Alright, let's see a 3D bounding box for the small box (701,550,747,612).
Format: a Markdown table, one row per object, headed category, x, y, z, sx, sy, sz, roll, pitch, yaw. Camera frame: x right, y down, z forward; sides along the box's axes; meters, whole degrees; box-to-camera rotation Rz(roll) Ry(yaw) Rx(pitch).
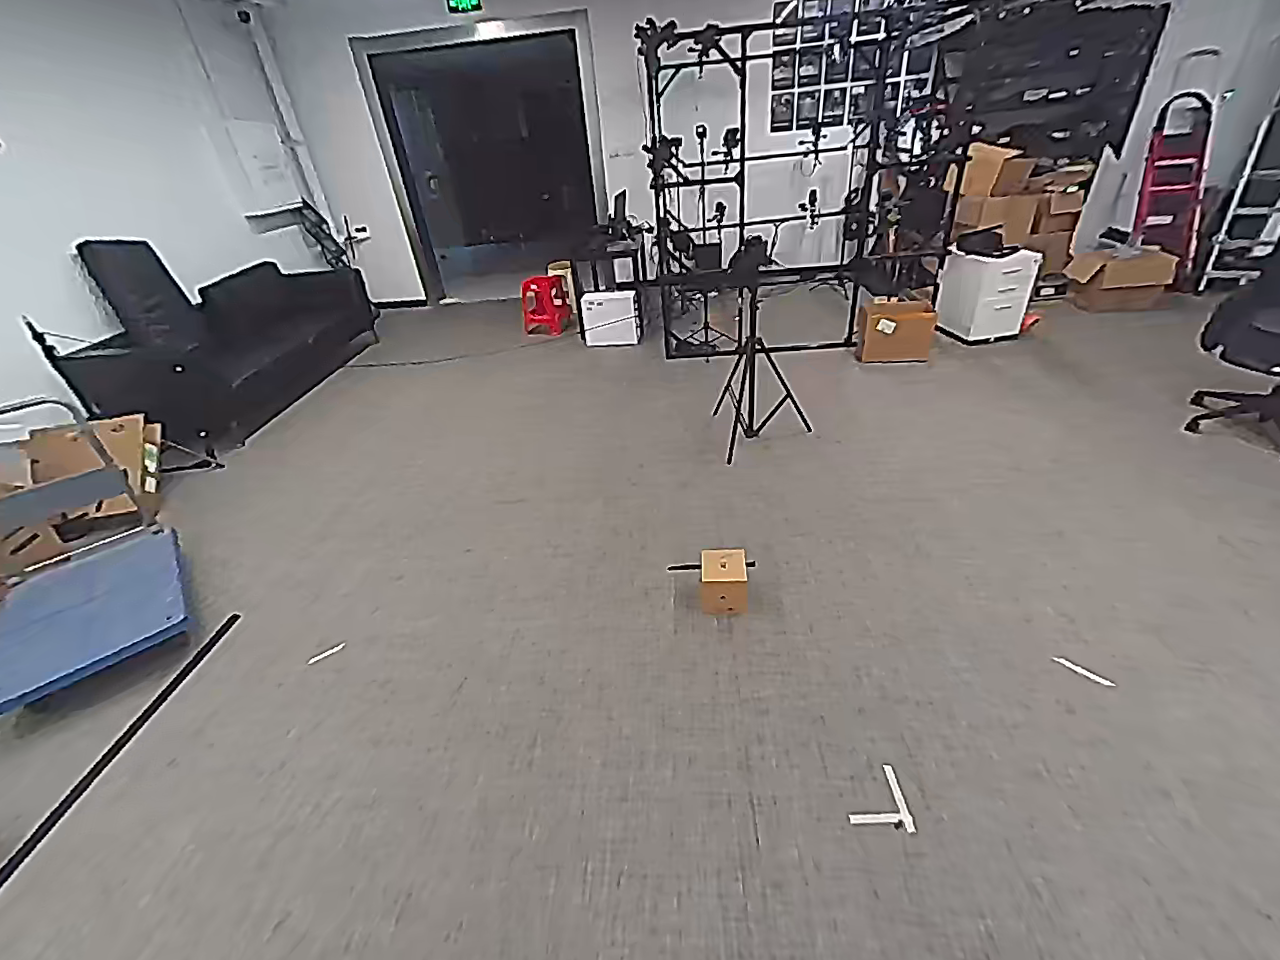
| category | x | y | z | sx | sy | sz | roll | pitch | yaw |
| --- | --- | --- | --- | --- | --- | --- | --- | --- | --- |
| small box | 0.319 | 0.387 | 2.063 | 0.168 | 0.176 | 0.179 | -1 | 32 | 7 |
